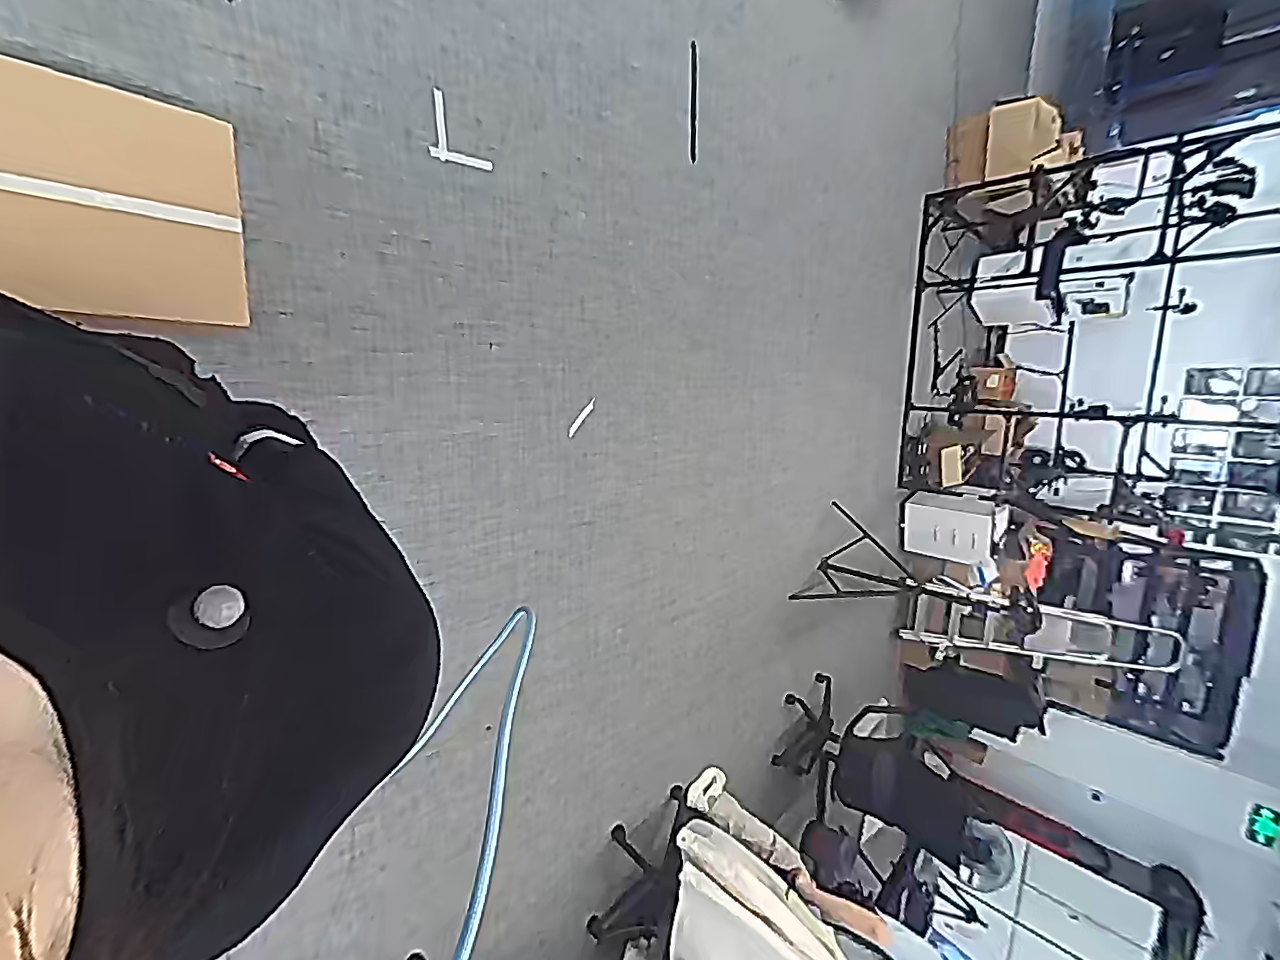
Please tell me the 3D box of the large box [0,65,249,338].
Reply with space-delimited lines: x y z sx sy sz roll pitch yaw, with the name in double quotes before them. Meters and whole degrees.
"large box" -0.894 -0.398 0.837 0.408 0.320 0.320 -8 104 -45
